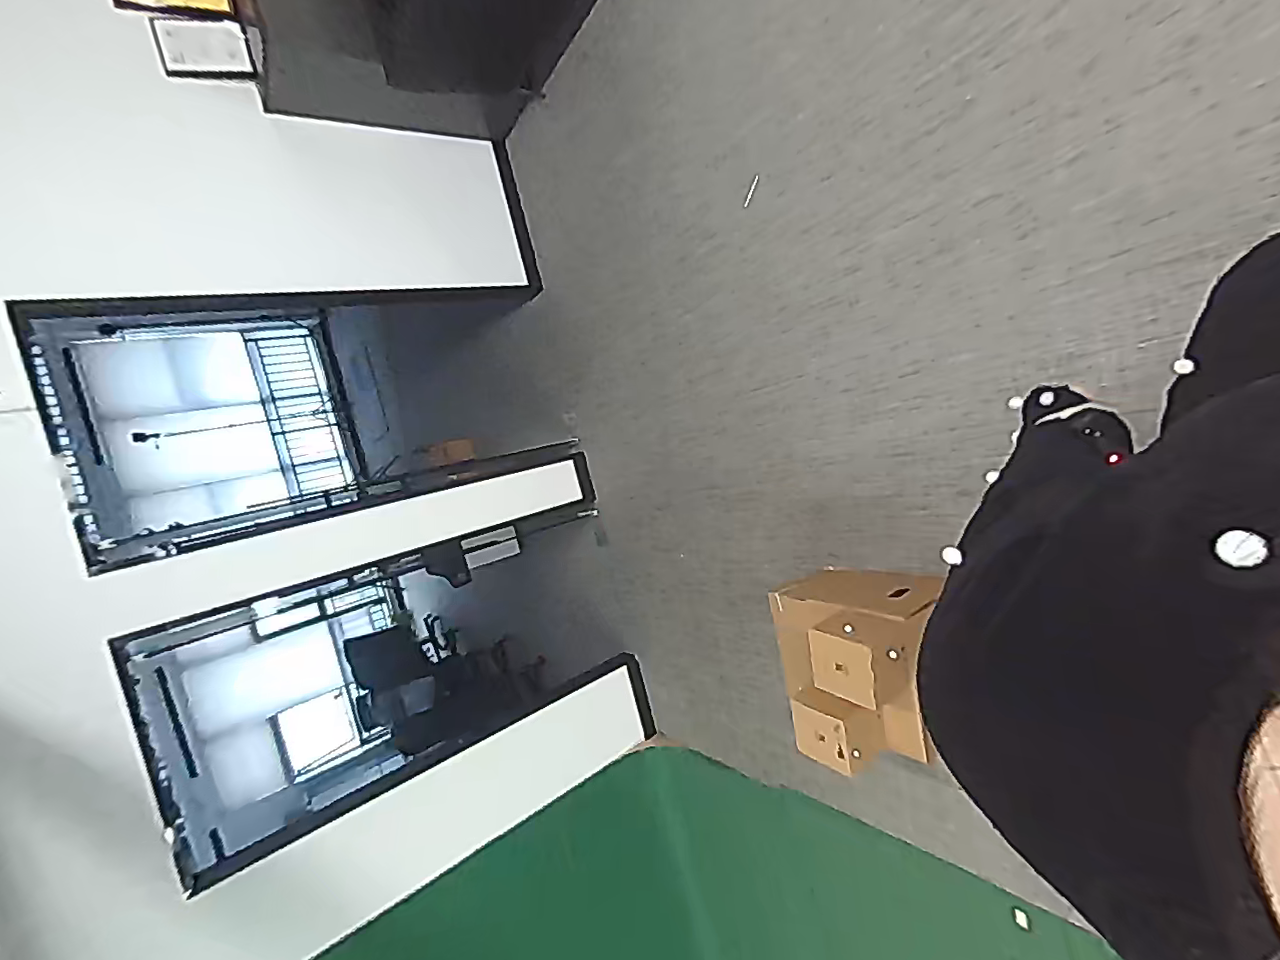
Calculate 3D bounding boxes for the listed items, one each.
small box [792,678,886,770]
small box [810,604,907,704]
[{"bbox_3d":[0.553,0.655,1.502,0.179,0.176,0.168,4,108,56],"label":"small box"},{"bbox_3d":[0.566,0.435,1.388,0.179,0.176,0.168,5,106,55],"label":"small box"}]
